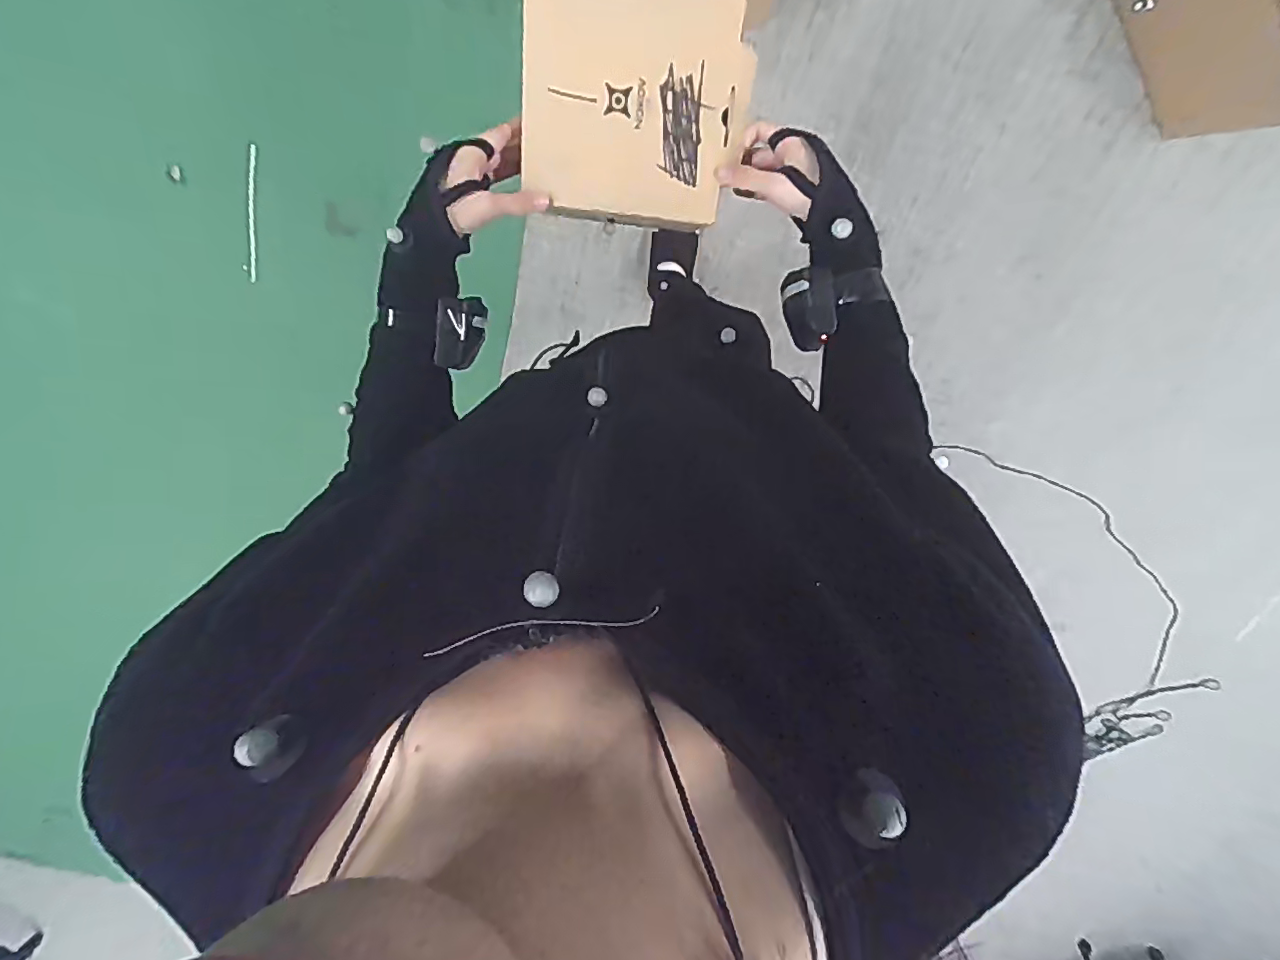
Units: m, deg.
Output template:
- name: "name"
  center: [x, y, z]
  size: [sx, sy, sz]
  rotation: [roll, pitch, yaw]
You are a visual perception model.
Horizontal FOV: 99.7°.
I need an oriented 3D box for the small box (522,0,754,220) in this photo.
- name: "small box"
  center: [-0.010, -0.348, 0.511]
  size: [0.179, 0.176, 0.168]
  rotation: [4, 112, -5]
